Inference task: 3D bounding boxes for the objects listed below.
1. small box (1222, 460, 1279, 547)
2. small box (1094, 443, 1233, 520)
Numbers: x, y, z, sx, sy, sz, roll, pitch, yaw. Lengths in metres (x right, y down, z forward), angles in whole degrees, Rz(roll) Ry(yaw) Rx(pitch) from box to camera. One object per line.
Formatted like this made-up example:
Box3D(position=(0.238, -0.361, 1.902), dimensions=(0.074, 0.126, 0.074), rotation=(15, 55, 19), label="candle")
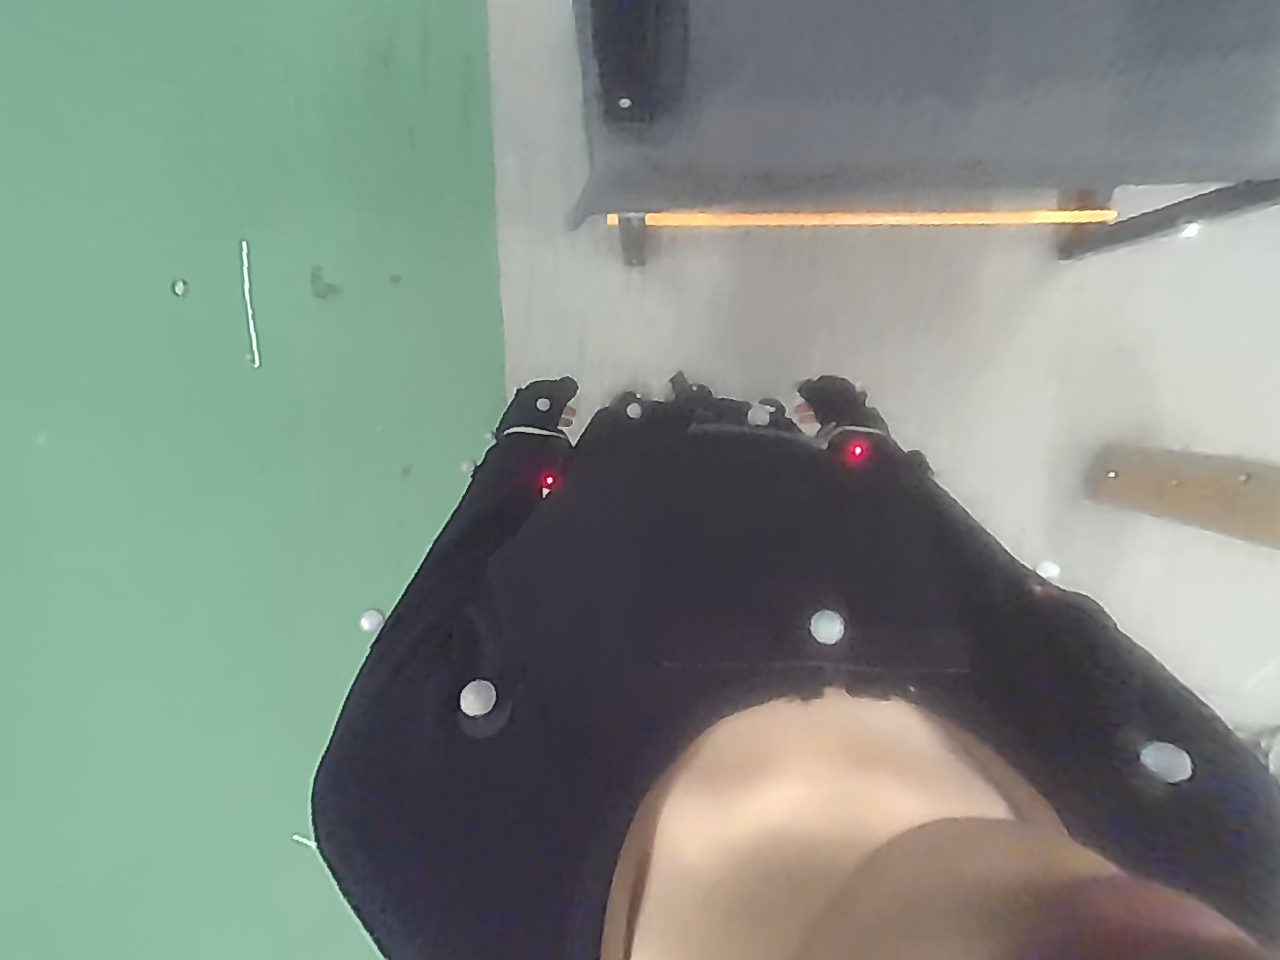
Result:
Box3D(position=(1.344, 0.054, 1.080), dimensions=(0.179, 0.176, 0.168), rotation=(3, 101, -1), label="small box")
Box3D(position=(1.345, -0.003, 1.401), dimensions=(0.179, 0.176, 0.168), rotation=(5, 100, 0), label="small box")
